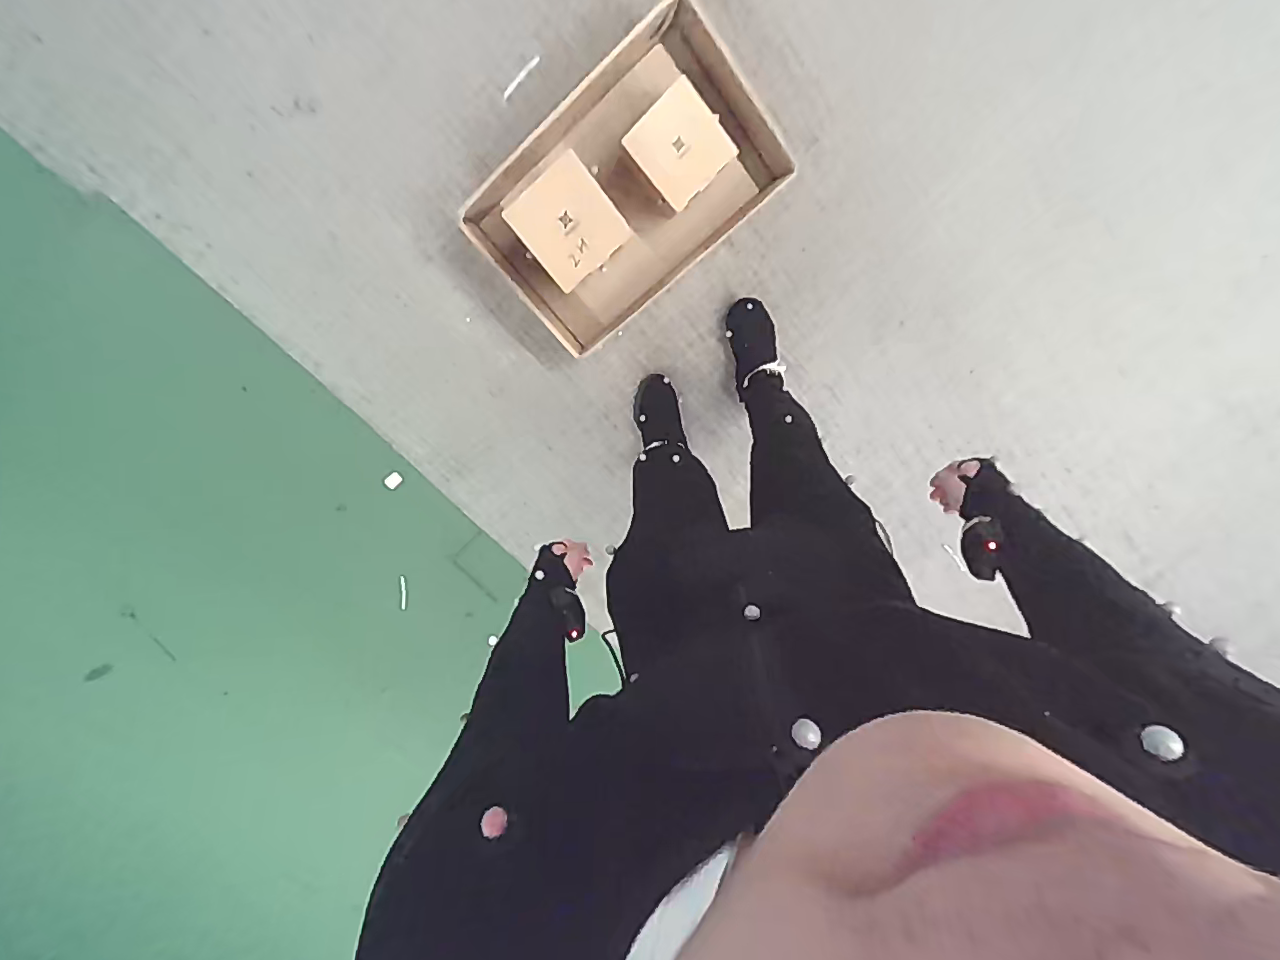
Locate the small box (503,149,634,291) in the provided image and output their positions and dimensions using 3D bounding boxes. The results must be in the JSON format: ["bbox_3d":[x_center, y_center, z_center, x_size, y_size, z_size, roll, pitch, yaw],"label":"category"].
[{"bbox_3d":[-0.130,-0.482,1.030,0.168,0.176,0.179,-37,109,11],"label":"small box"}]
